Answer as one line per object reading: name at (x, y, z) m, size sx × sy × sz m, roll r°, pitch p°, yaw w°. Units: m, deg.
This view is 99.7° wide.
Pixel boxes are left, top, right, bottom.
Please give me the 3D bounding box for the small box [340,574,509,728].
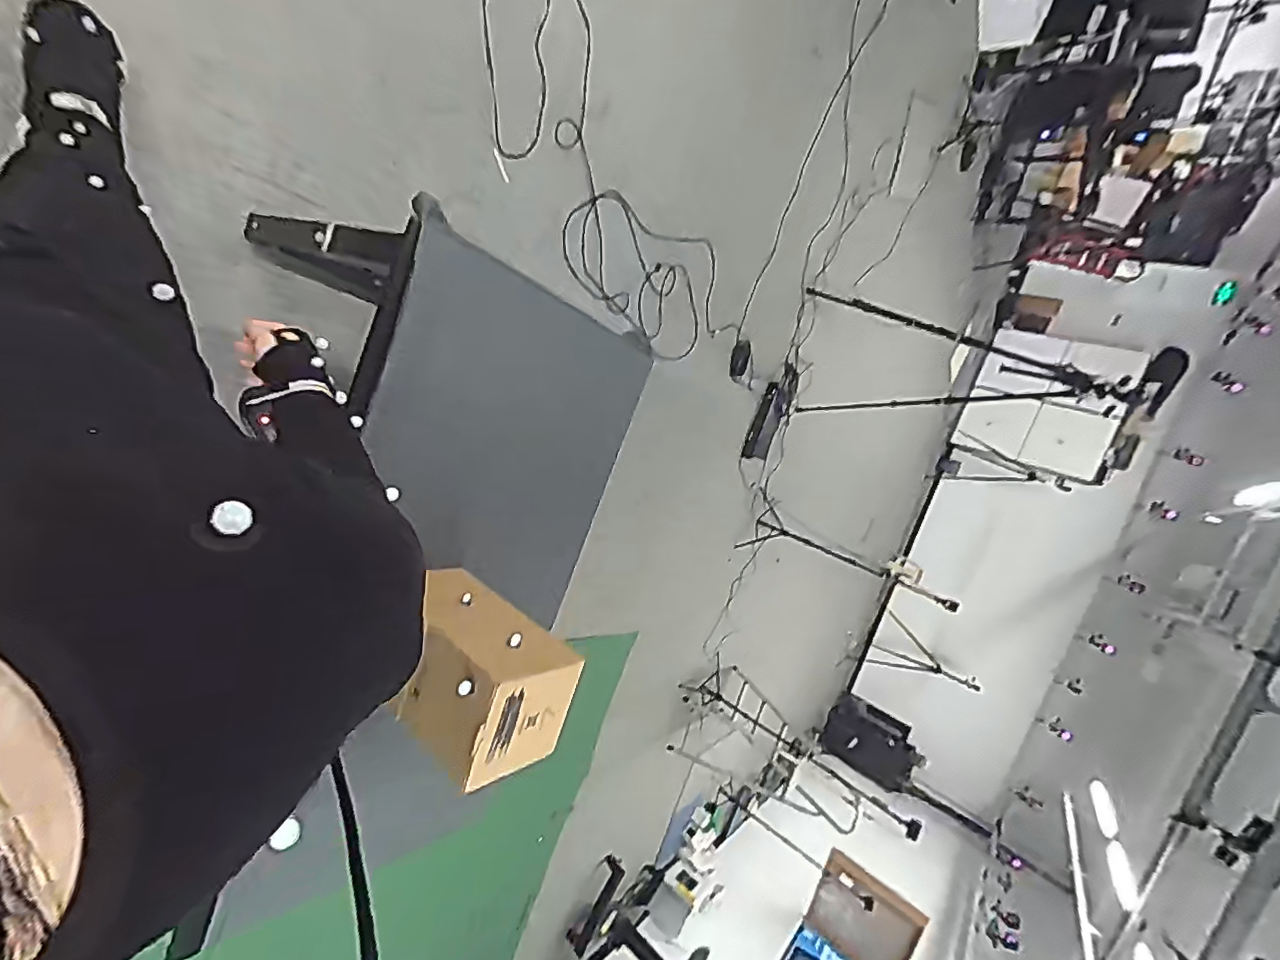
small box at (-0.353, 0.265, 0.890) m, size 0.179 × 0.176 × 0.168 m, roll 8°, pitch 103°, yaw -55°
